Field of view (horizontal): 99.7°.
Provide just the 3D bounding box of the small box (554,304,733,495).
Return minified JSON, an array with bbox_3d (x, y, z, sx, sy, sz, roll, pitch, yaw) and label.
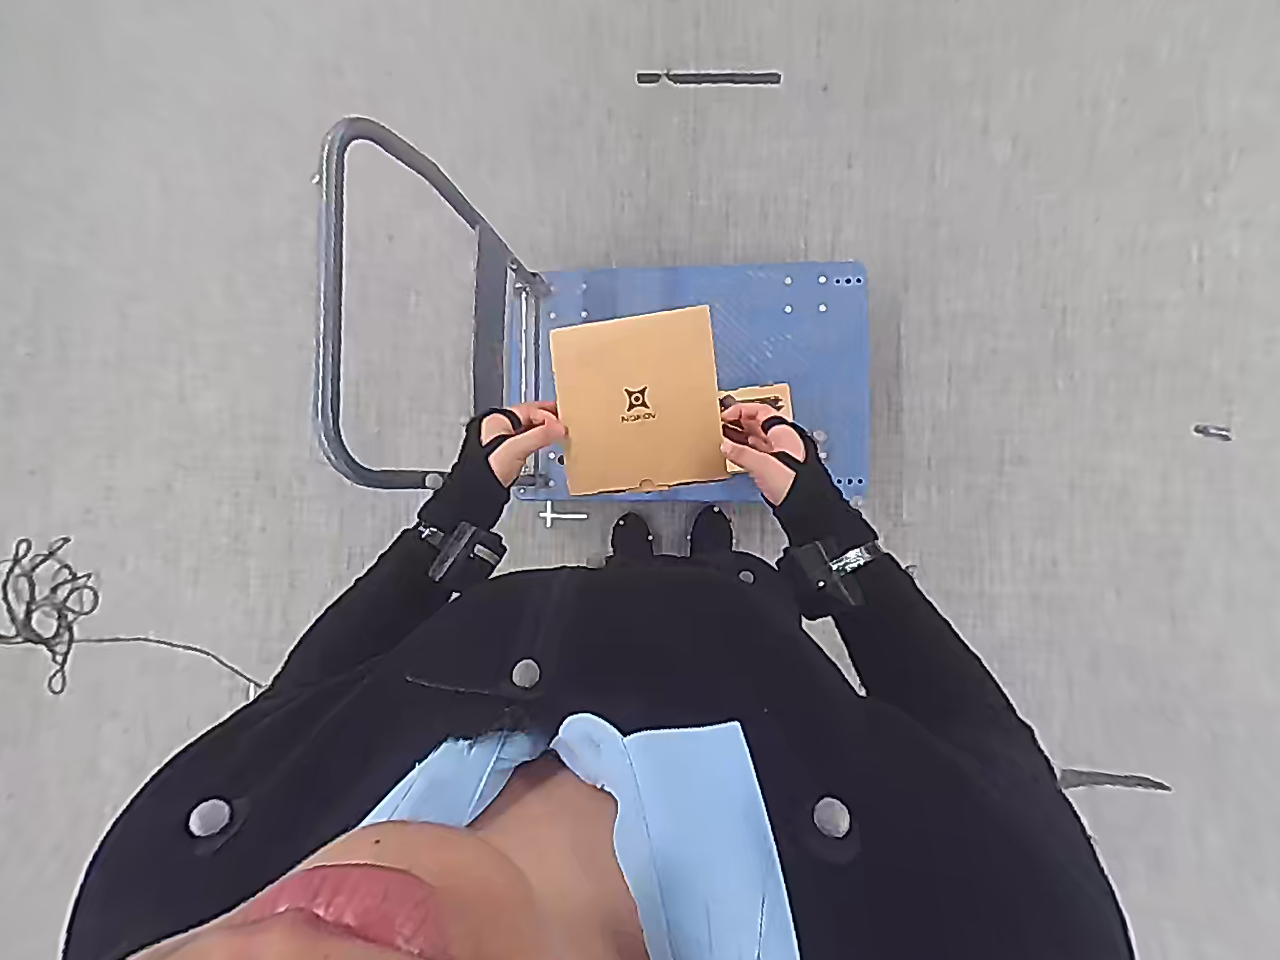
[{"bbox_3d":[0.011,-0.082,0.617,0.168,0.176,0.179,-7,94,7],"label":"small box"}]
